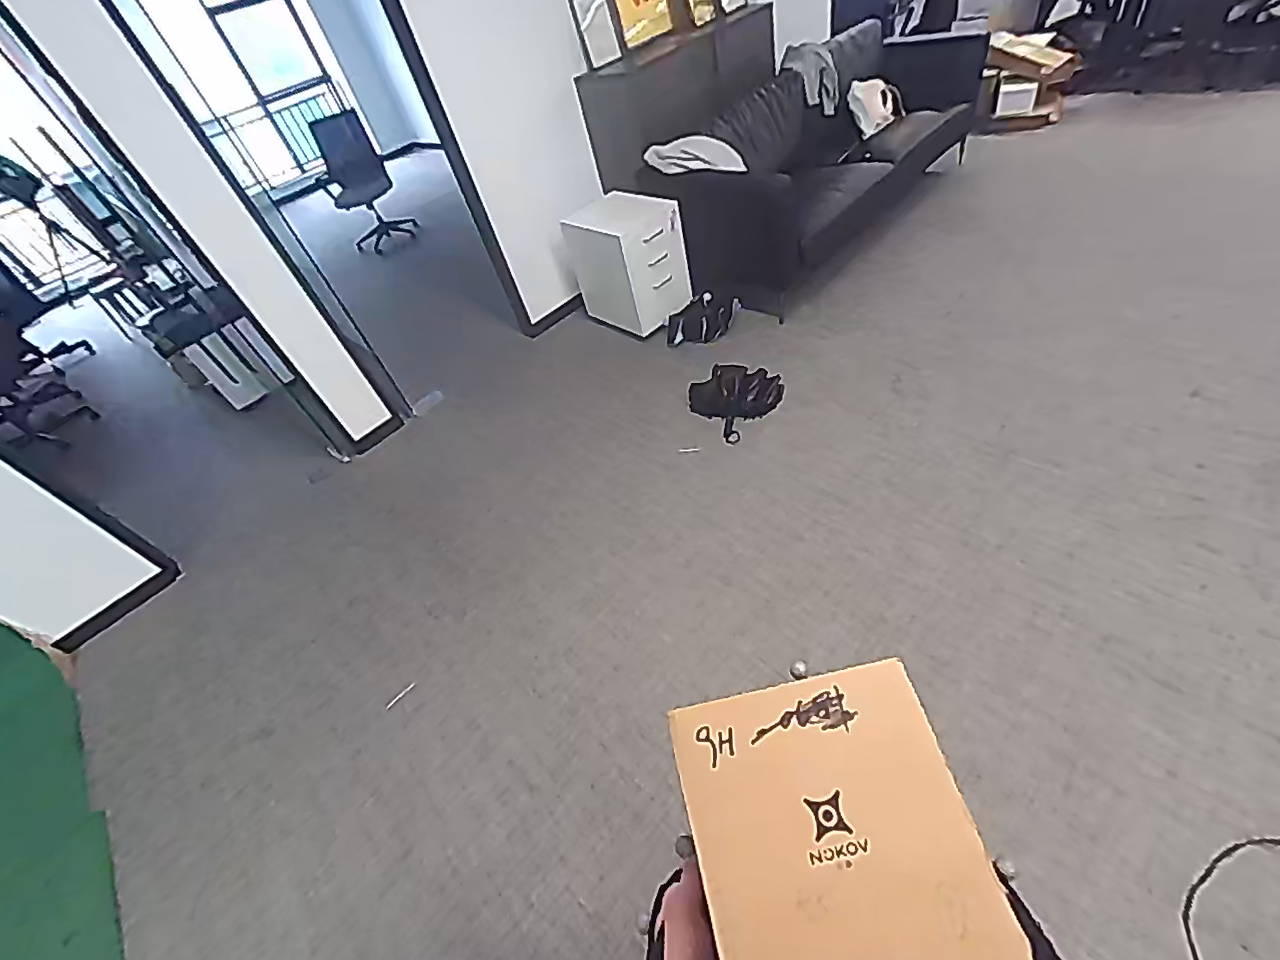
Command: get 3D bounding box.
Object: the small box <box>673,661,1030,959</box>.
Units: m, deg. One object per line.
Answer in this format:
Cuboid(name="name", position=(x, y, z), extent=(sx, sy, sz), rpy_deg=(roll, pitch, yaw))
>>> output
Cuboid(name="small box", position=(0.125, 0.249, 0.397), extent=(0.168, 0.176, 0.179), rpy_deg=(-12, 62, -2))
